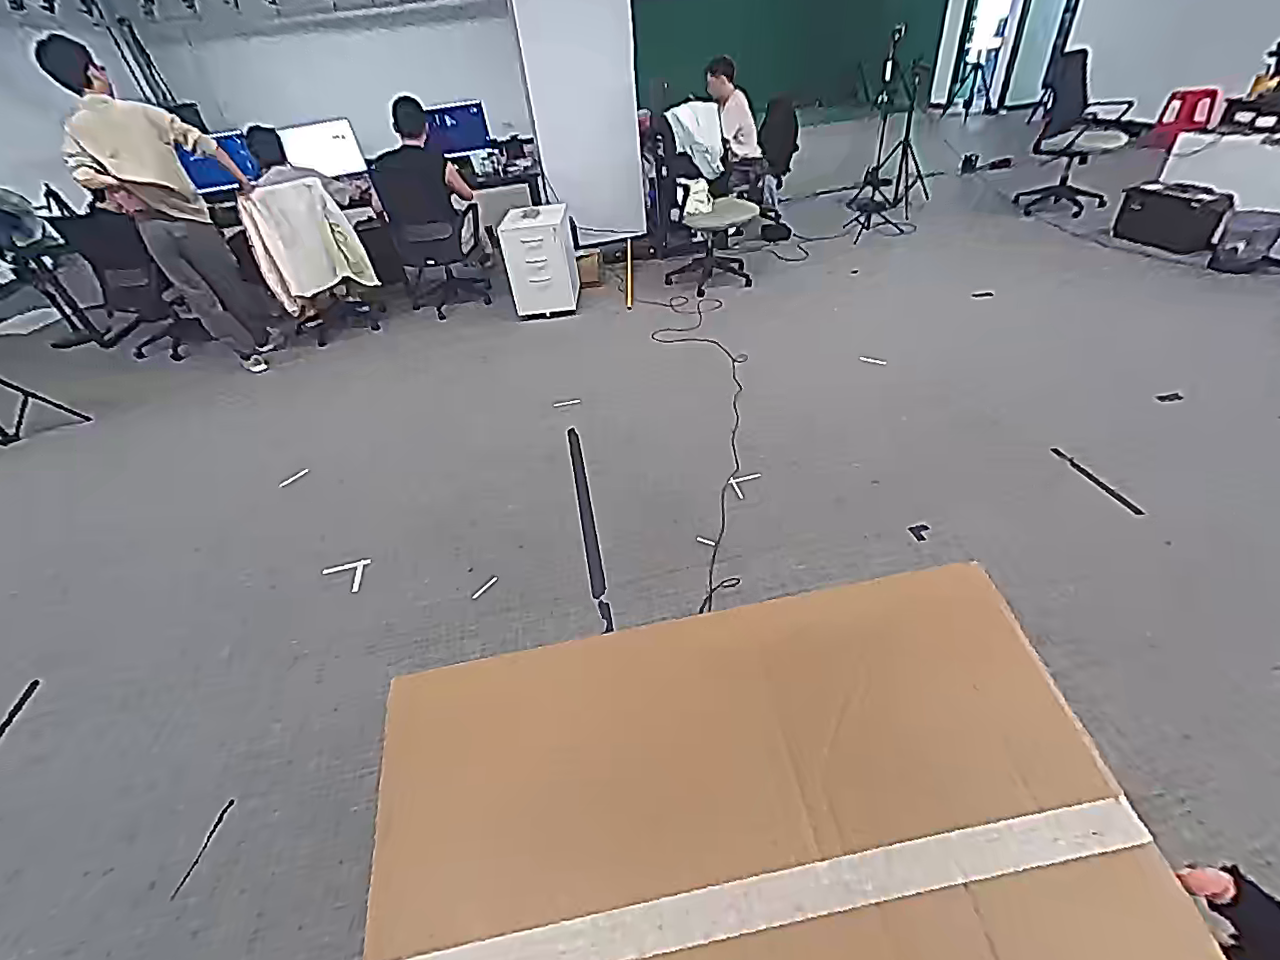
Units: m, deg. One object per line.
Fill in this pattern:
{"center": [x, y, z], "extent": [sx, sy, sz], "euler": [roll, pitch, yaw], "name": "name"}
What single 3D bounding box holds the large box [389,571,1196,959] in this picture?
{"center": [0.073, 0.311, 0.405], "extent": [0.408, 0.320, 0.320], "euler": [-11, 55, -2], "name": "large box"}
